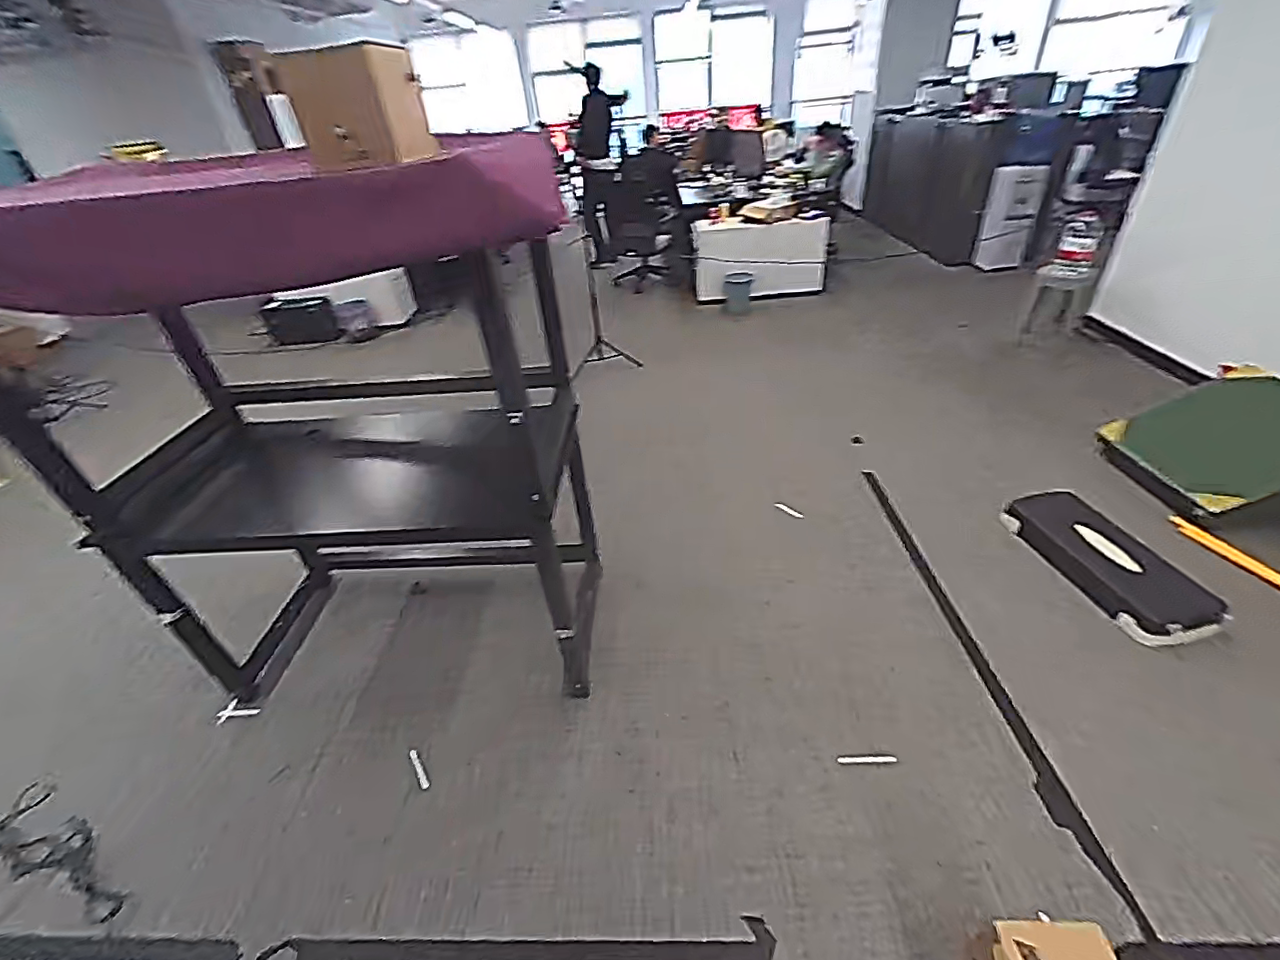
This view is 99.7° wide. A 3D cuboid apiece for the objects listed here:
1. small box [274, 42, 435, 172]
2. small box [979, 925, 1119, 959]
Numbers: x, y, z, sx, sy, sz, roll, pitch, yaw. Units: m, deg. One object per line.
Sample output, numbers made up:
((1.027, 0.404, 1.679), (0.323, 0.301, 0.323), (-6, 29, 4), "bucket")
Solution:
((-0.484, -0.649, 0.952), (0.168, 0.176, 0.179), (-2, 35, 7), "small box")
((0.695, 0.869, 0.896), (0.179, 0.176, 0.168), (-1, 37, 4), "small box")
